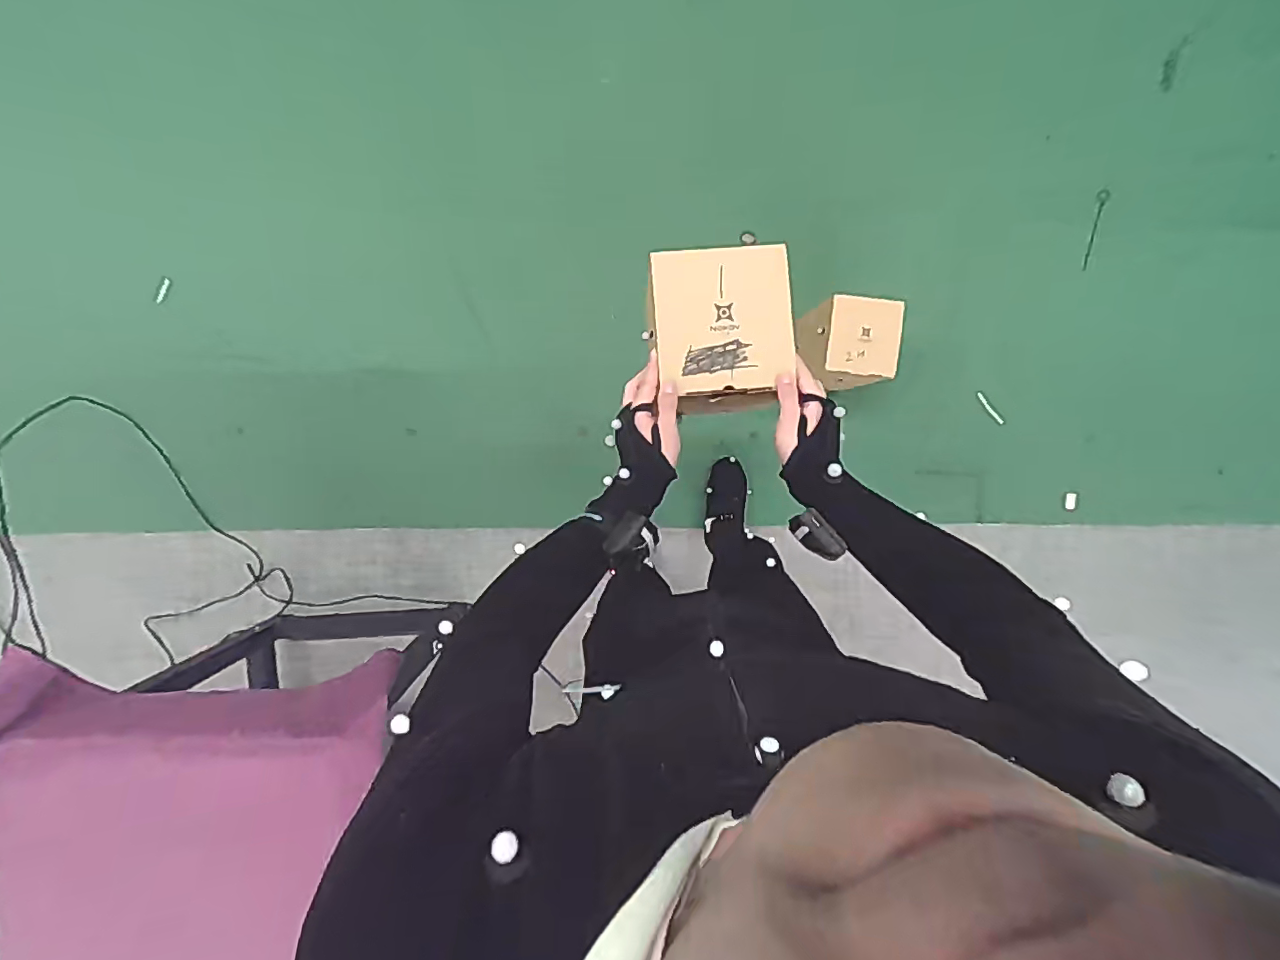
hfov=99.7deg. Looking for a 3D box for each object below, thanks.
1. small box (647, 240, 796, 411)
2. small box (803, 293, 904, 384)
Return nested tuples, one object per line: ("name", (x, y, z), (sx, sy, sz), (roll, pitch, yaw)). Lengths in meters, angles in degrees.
("small box", (0.096, -0.189, 0.712), (0.168, 0.176, 0.179), (-4, 88, -1))
("small box", (0.510, -0.337, 1.314), (0.168, 0.176, 0.179), (6, 95, -1))
